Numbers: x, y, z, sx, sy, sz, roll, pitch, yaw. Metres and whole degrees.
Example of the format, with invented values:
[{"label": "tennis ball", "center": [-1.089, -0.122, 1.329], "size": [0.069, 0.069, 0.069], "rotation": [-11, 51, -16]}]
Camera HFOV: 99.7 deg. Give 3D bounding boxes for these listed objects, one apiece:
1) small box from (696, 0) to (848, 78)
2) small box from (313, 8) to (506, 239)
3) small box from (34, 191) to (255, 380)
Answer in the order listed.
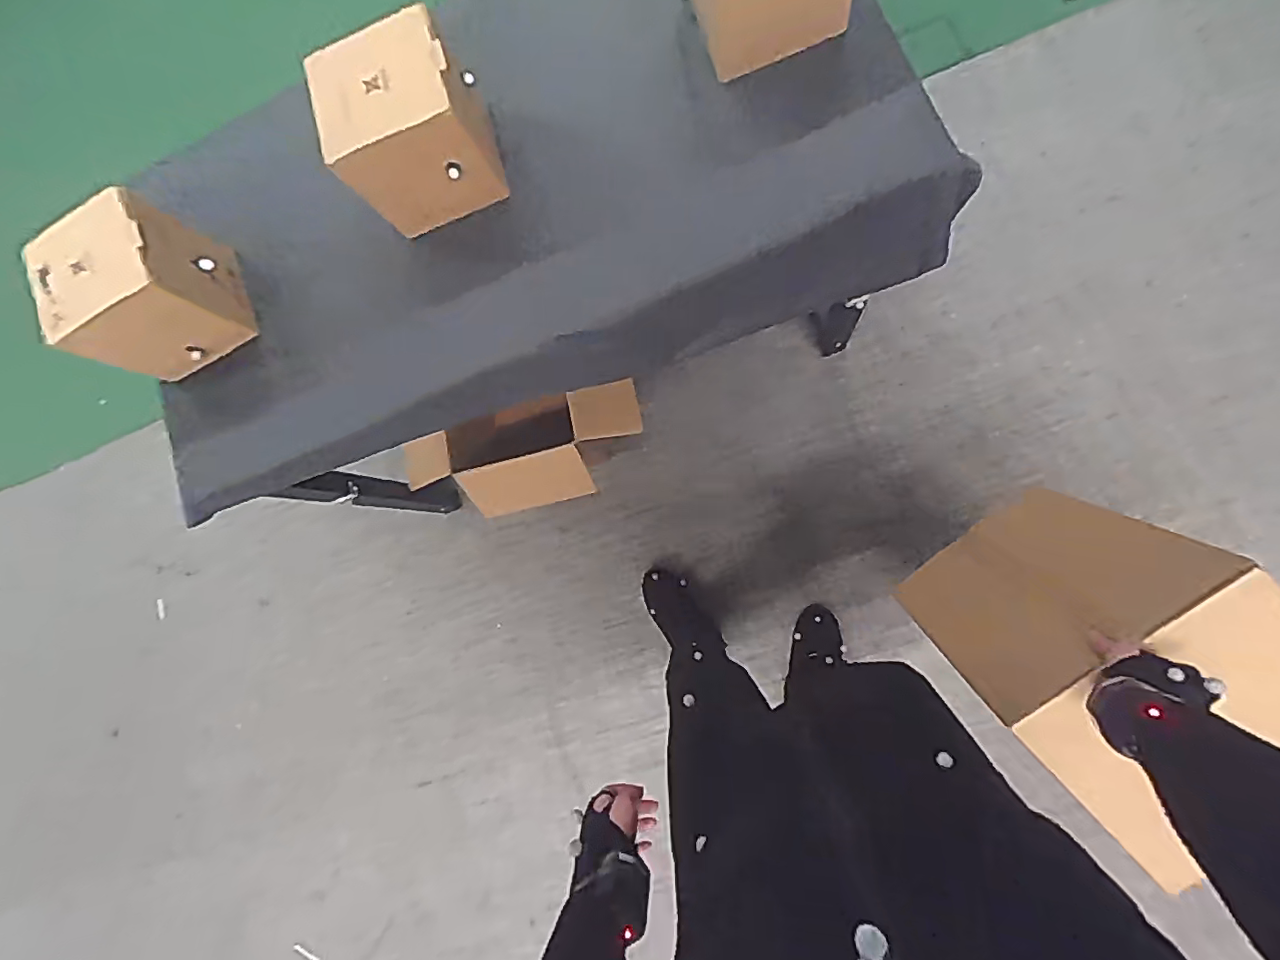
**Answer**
[{"label": "small box", "center": [0.158, -0.655, 0.670], "size": [0.179, 0.176, 0.168], "rotation": [-17, 80, 8]}, {"label": "small box", "center": [-0.303, -0.473, 0.746], "size": [0.179, 0.176, 0.168], "rotation": [-19, 78, 10]}, {"label": "small box", "center": [-0.716, -0.275, 0.803], "size": [0.179, 0.176, 0.168], "rotation": [-26, 78, 6]}]
